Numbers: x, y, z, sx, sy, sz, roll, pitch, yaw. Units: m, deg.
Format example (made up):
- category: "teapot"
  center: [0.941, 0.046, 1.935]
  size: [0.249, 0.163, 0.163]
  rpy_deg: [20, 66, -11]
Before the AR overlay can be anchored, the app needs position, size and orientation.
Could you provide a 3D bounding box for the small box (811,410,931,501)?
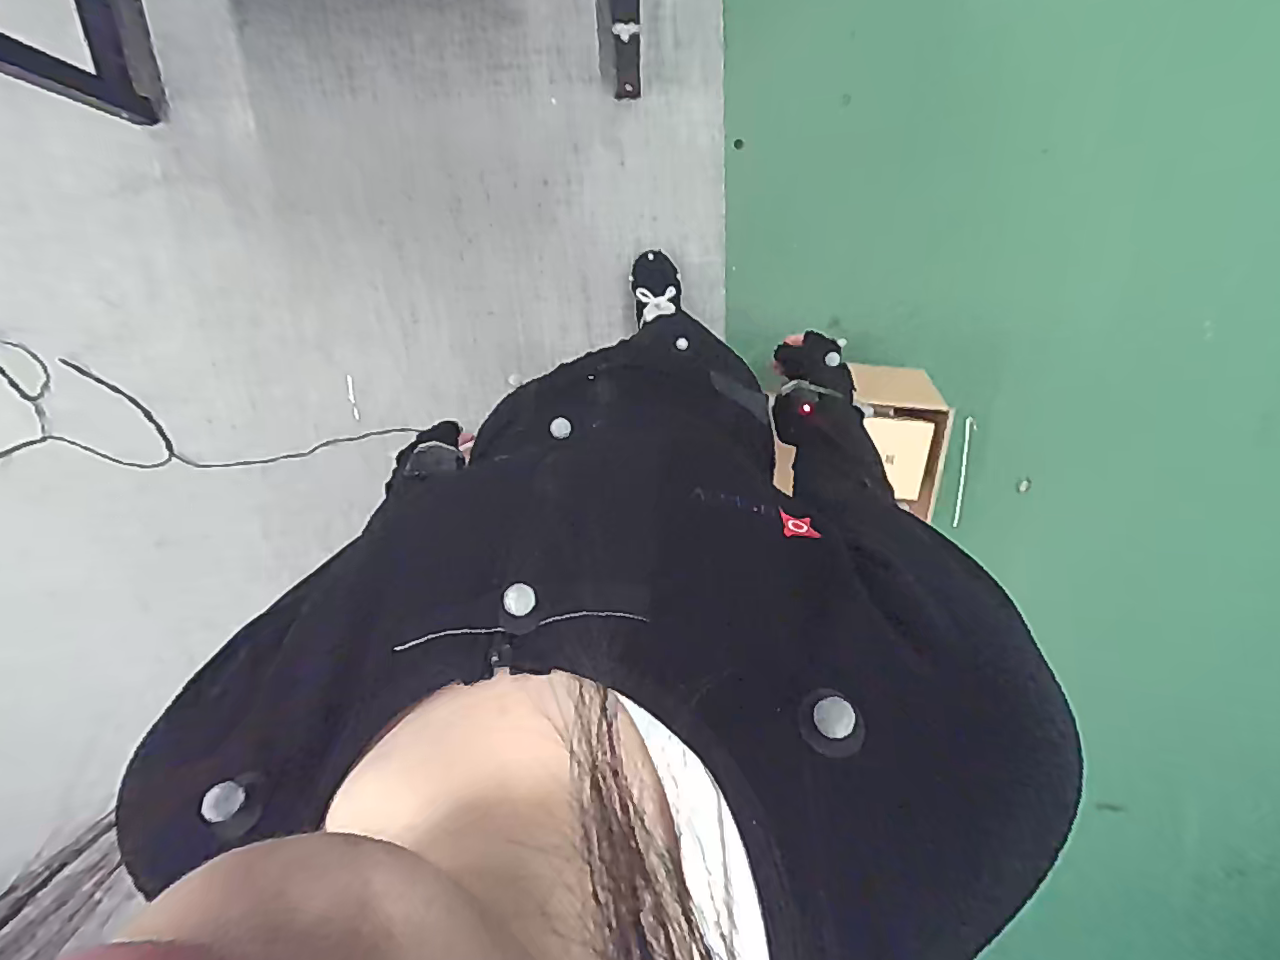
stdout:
- category: "small box"
  center: [0.508, -0.060, 1.213]
  size: [0.179, 0.176, 0.168]
  rpy_deg: [6, 104, -2]
